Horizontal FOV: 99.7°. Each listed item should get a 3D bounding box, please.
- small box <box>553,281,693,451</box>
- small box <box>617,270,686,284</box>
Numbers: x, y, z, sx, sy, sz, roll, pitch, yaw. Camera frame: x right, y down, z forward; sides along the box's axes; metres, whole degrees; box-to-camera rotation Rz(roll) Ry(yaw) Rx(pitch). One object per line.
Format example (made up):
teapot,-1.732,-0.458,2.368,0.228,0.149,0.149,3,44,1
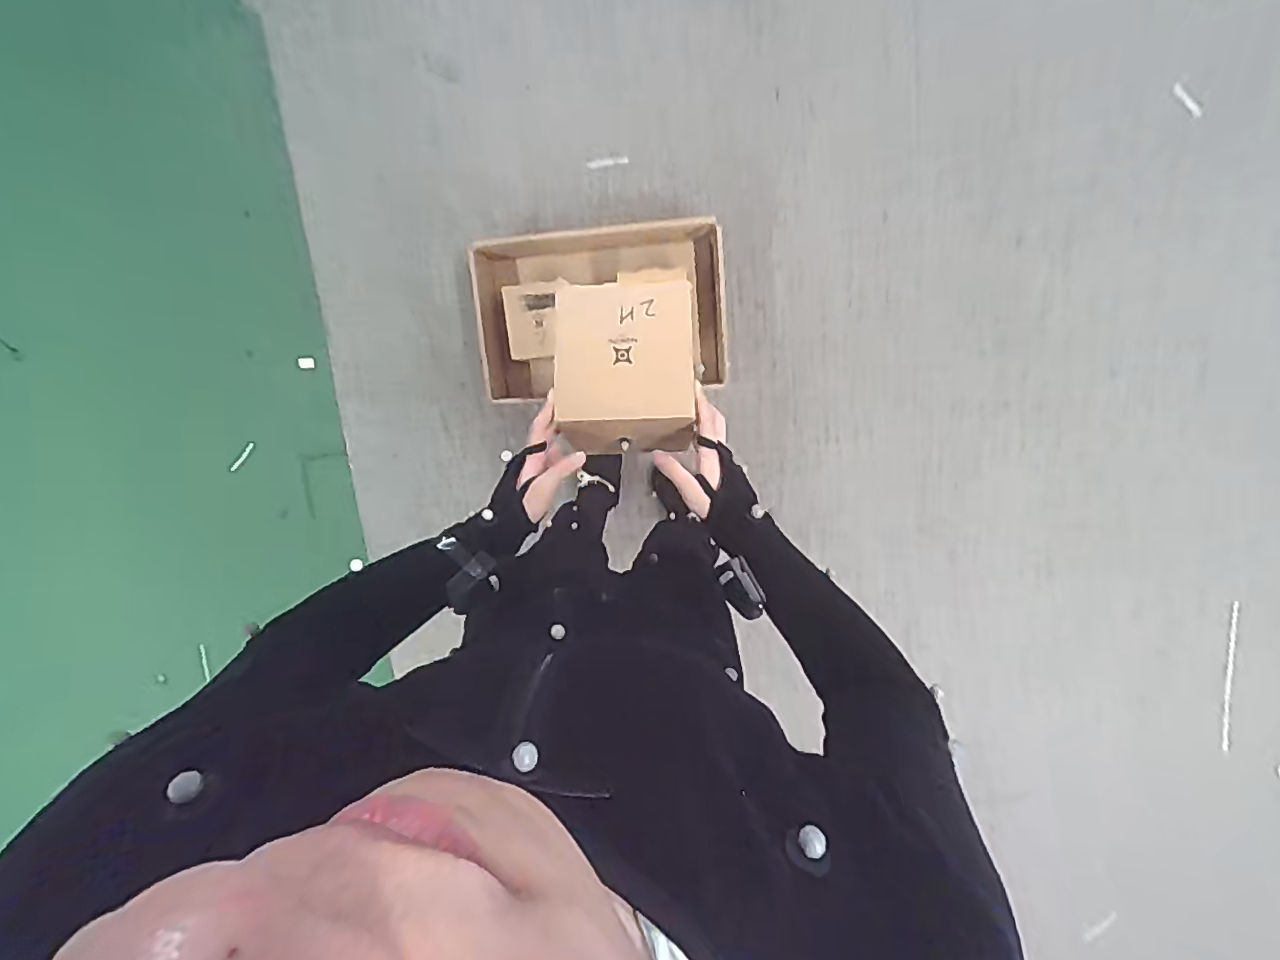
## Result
small box,-0.015,-0.137,0.713,0.168,0.176,0.179,-1,79,2
small box,0.038,-0.422,1.371,0.168,0.176,0.179,-2,100,5
